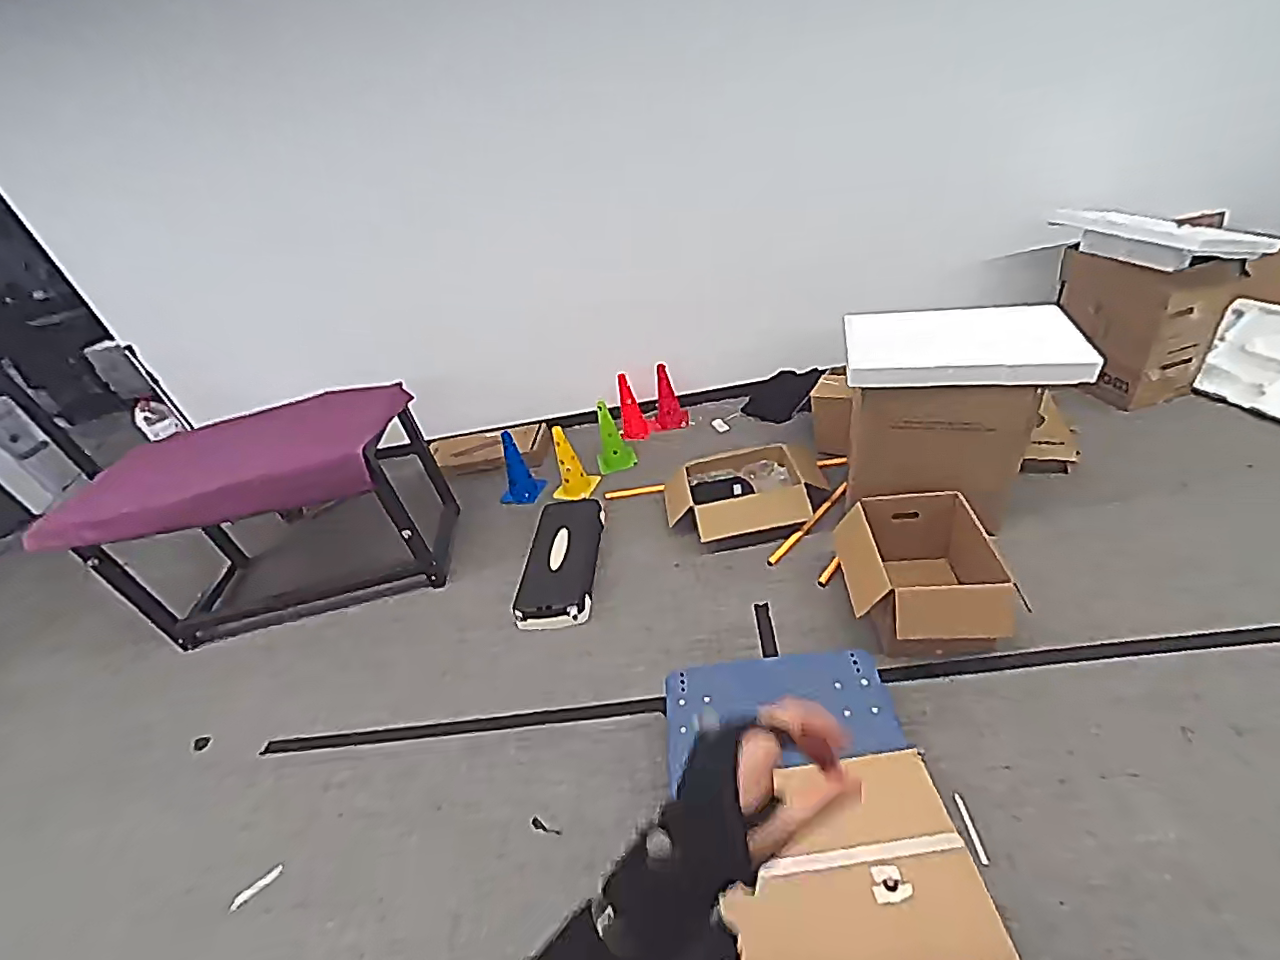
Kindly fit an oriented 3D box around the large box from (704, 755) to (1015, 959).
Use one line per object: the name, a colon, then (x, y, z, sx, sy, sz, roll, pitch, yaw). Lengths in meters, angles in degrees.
large box: (0.349, 0.753, 0.970, 0.408, 0.320, 0.320, -10, 35, 3)
